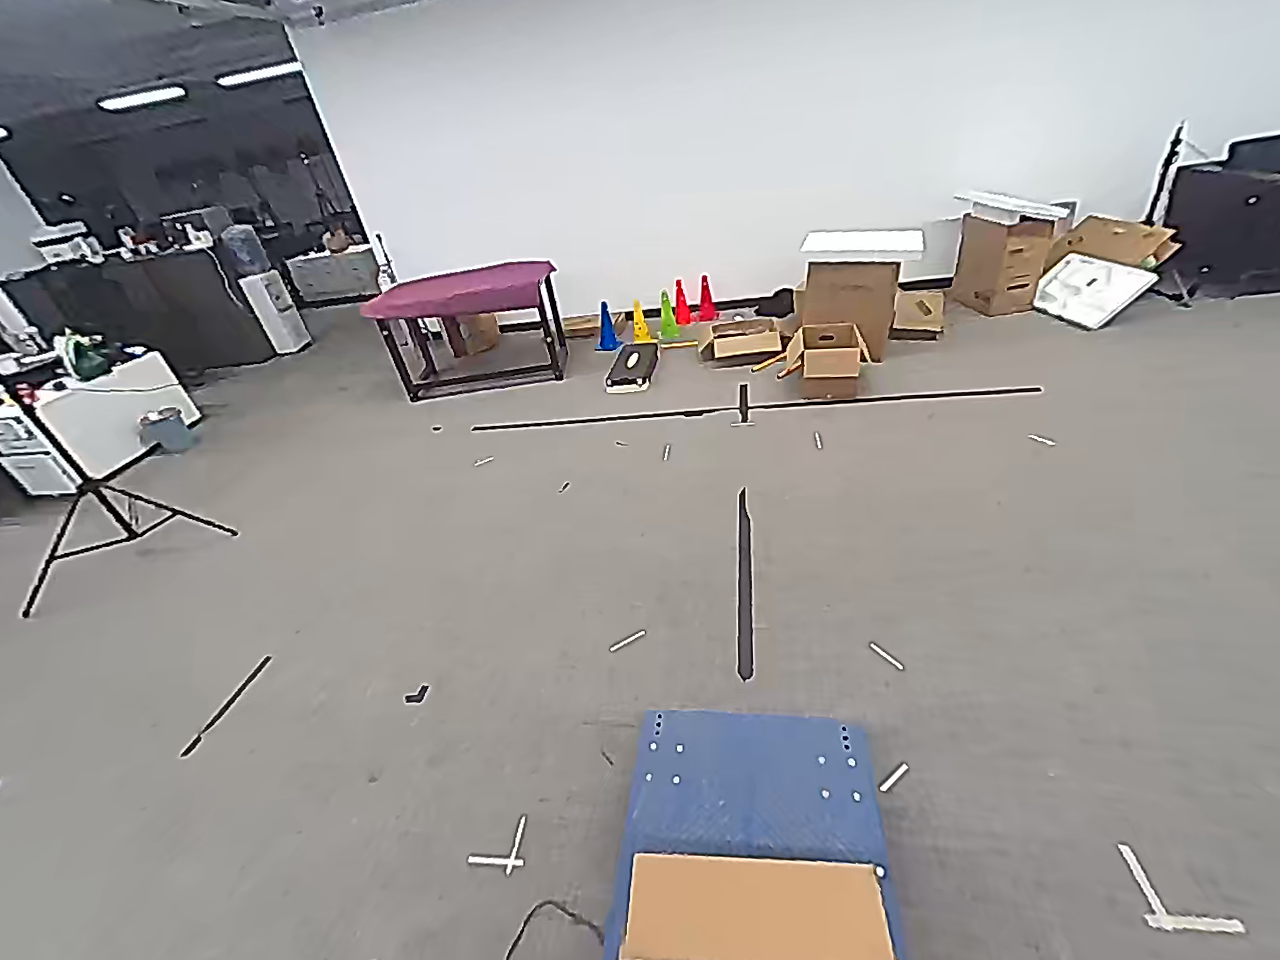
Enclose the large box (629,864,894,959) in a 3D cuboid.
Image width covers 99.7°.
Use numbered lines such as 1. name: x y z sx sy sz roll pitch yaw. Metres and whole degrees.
1. large box: 0.194 0.869 0.872 0.408 0.320 0.320 -3 34 8
